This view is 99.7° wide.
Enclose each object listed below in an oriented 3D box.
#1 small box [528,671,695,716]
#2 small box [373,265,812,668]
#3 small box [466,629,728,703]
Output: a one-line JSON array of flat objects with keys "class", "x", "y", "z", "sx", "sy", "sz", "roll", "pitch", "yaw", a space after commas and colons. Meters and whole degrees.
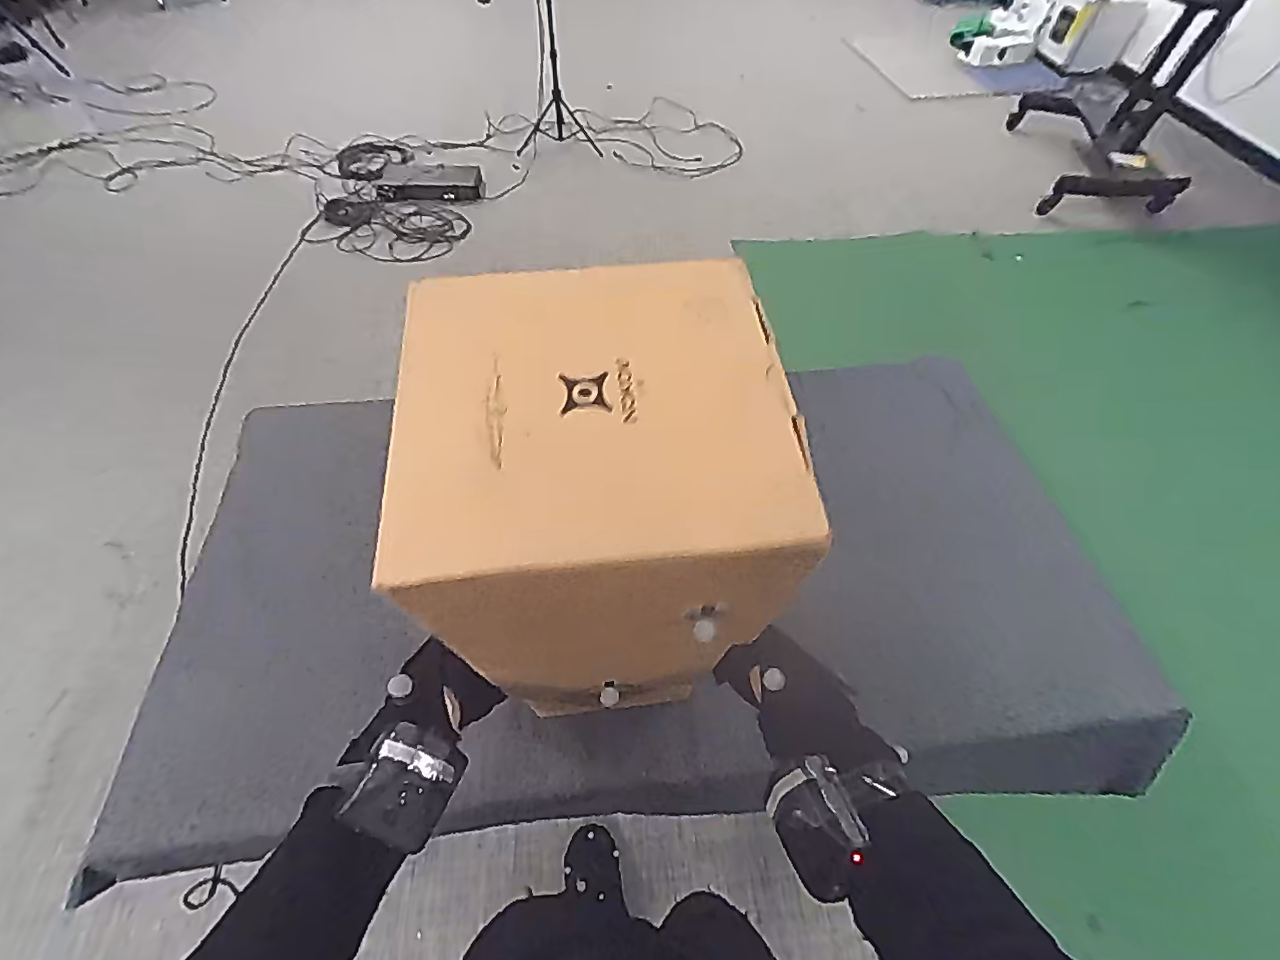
[{"class": "small box", "x": -0.042, "y": 0.158, "z": 0.610, "sx": 0.179, "sy": 0.176, "sz": 0.168, "roll": -6, "pitch": 56, "yaw": -4}, {"class": "small box", "x": -0.026, "y": 0.002, "z": 0.319, "sx": 0.179, "sy": 0.176, "sz": 0.168, "roll": -7, "pitch": 59, "yaw": -4}, {"class": "small box", "x": -0.038, "y": 0.083, "z": 0.462, "sx": 0.179, "sy": 0.176, "sz": 0.168, "roll": -6, "pitch": 59, "yaw": -5}]
